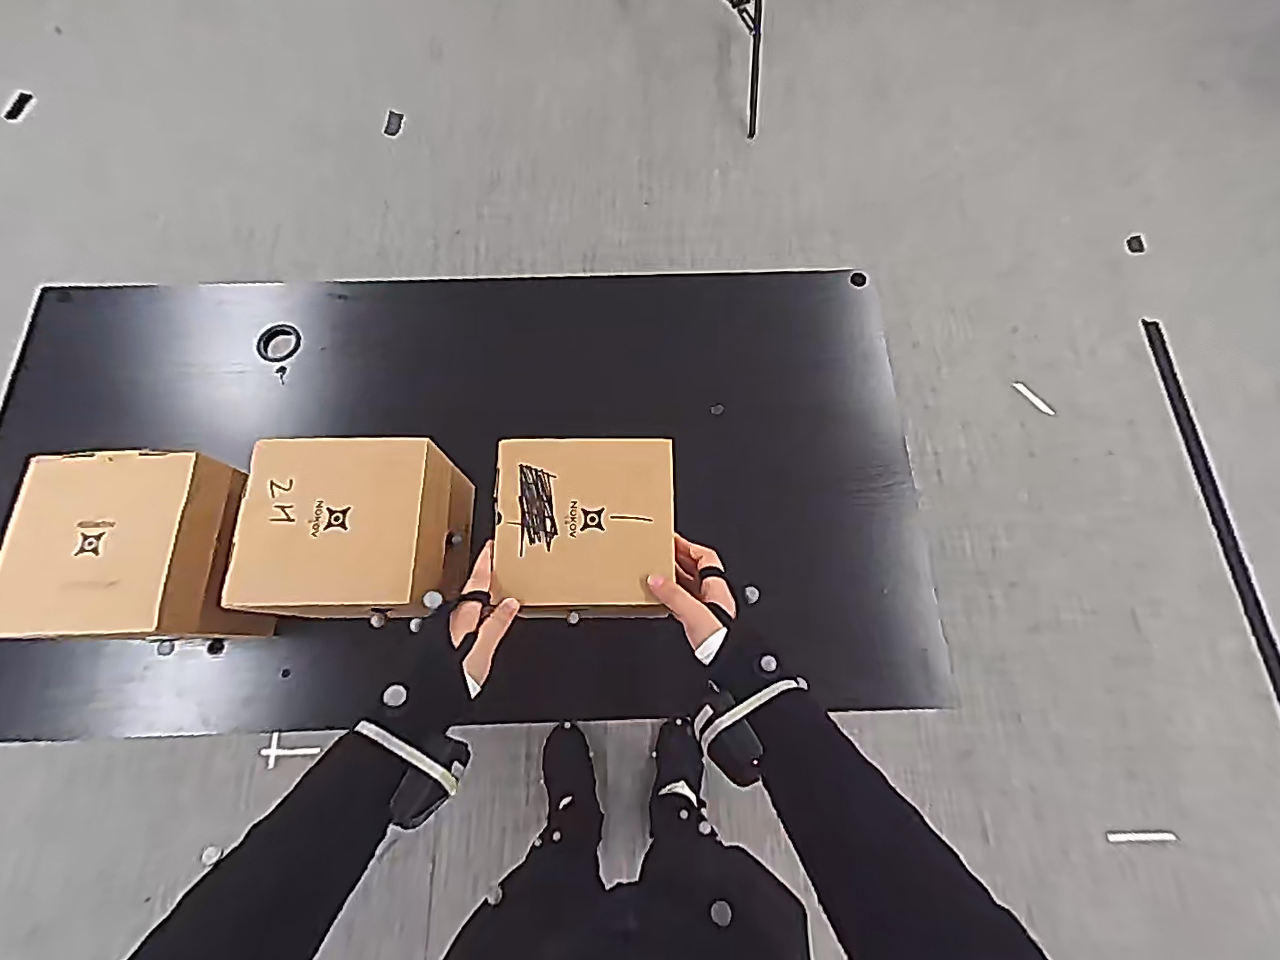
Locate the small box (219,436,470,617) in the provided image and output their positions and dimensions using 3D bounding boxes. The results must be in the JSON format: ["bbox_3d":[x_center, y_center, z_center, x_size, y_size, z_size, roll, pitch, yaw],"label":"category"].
[{"bbox_3d":[-0.296,0.058,0.587,0.179,0.176,0.168,-1,72,-1],"label":"small box"}]

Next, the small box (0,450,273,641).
[{"bbox_3d":[-0.515,0.079,0.580,0.168,0.176,0.179,-2,73,0],"label":"small box"}]
